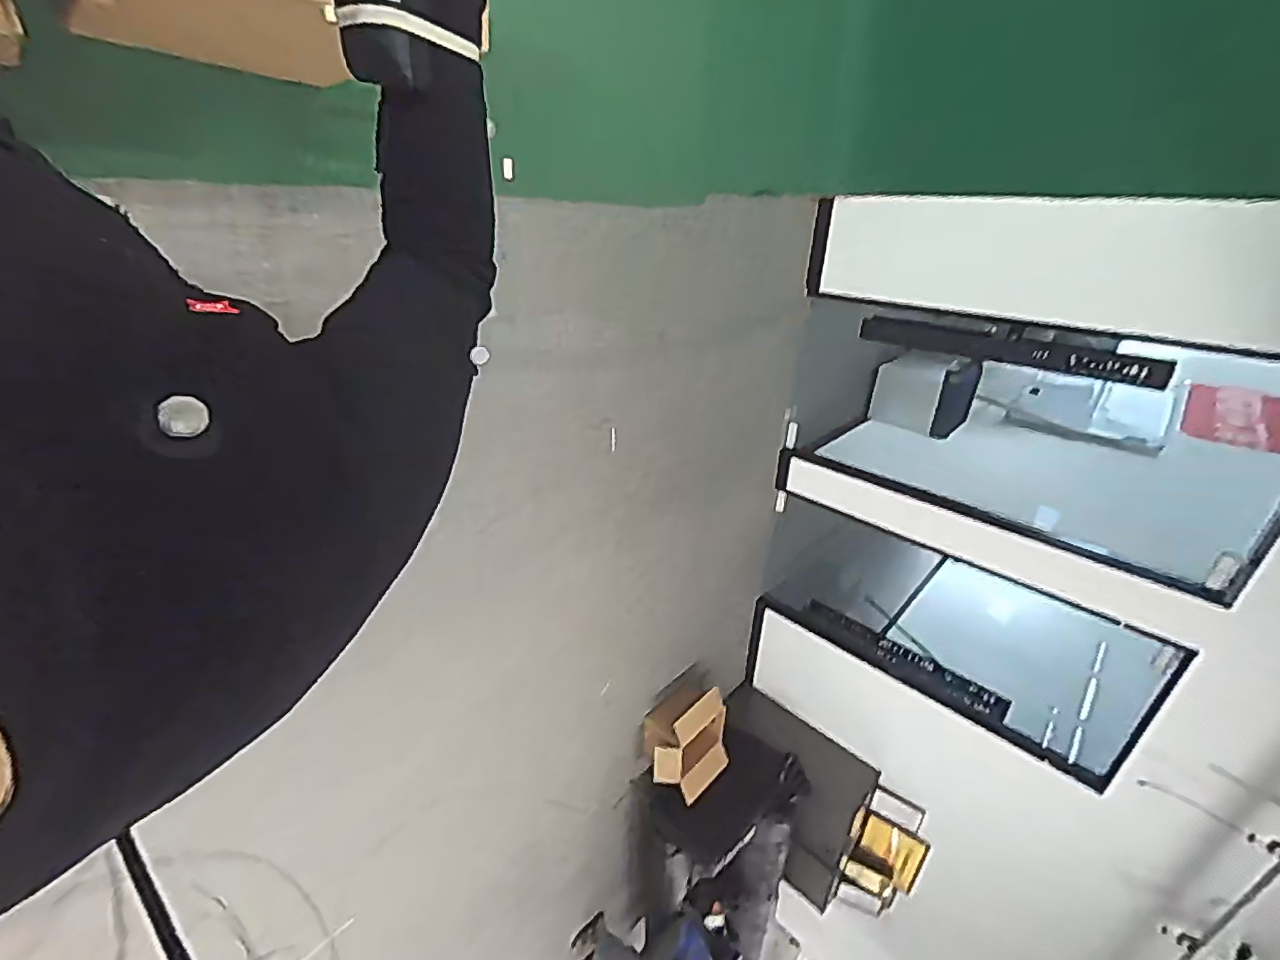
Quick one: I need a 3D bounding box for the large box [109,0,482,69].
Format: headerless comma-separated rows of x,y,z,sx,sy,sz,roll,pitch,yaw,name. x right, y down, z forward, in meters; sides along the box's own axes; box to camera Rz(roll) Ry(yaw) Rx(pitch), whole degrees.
-0.477,-0.791,0.714,0.408,0.320,0.320,-22,127,-43,large box
